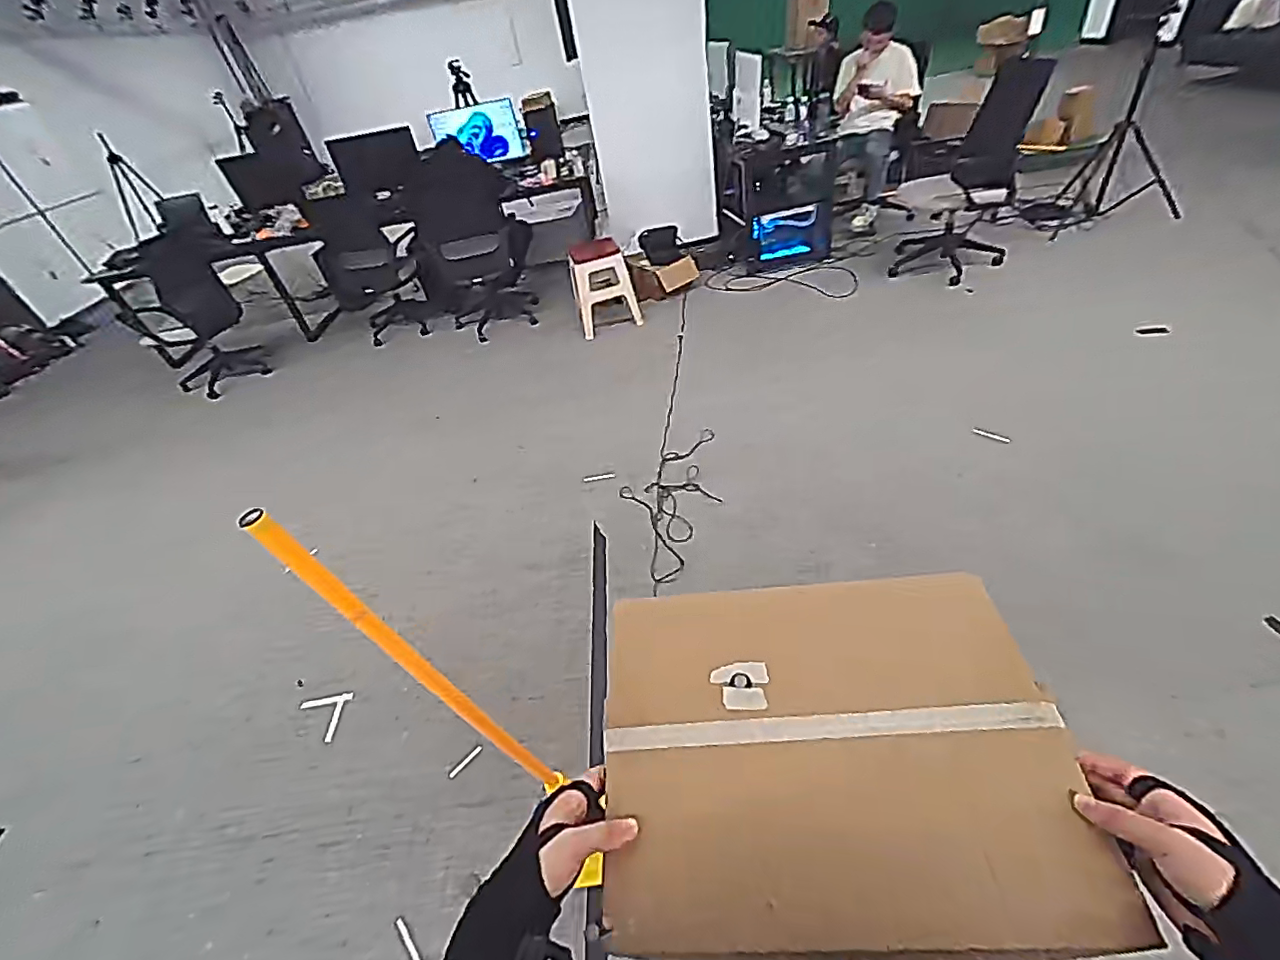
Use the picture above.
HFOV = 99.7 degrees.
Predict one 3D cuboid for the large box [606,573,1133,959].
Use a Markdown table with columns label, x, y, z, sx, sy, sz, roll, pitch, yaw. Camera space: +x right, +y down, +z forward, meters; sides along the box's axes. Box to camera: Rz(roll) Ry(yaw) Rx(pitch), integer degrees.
| label | x | y | z | sx | sy | sz | roll | pitch | yaw |
| --- | --- | --- | --- | --- | --- | --- | --- | --- | --- |
| large box | 0.192 | 0.339 | 0.623 | 0.408 | 0.320 | 0.320 | -7 | 45 | 7 |
